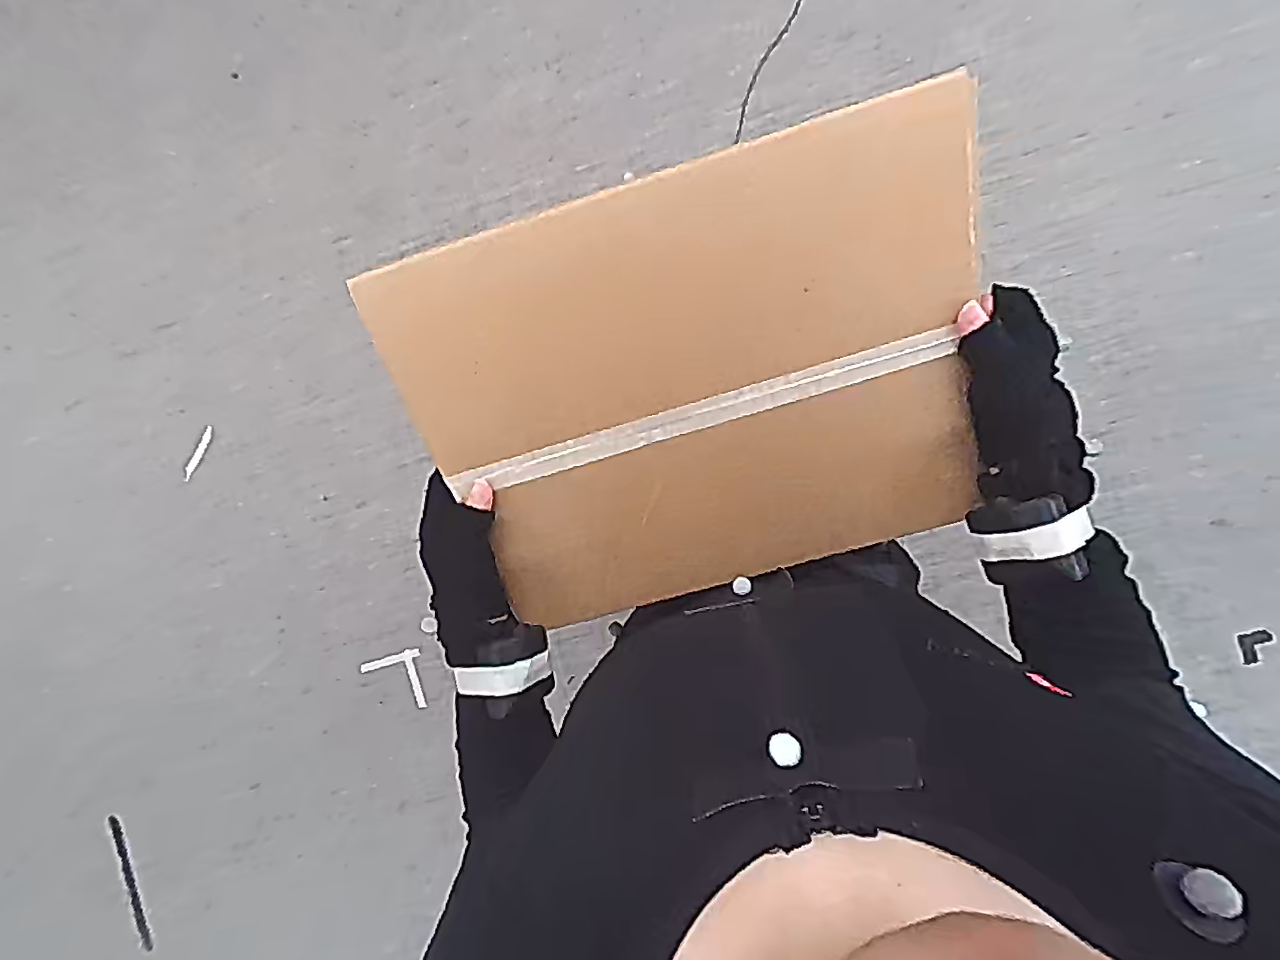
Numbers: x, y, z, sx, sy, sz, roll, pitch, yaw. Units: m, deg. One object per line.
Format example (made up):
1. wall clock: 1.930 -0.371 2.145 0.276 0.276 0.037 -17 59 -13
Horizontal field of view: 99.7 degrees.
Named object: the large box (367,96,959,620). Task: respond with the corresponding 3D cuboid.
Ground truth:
1. large box: 0.036 -0.120 0.550 0.408 0.320 0.320 -16 115 6
